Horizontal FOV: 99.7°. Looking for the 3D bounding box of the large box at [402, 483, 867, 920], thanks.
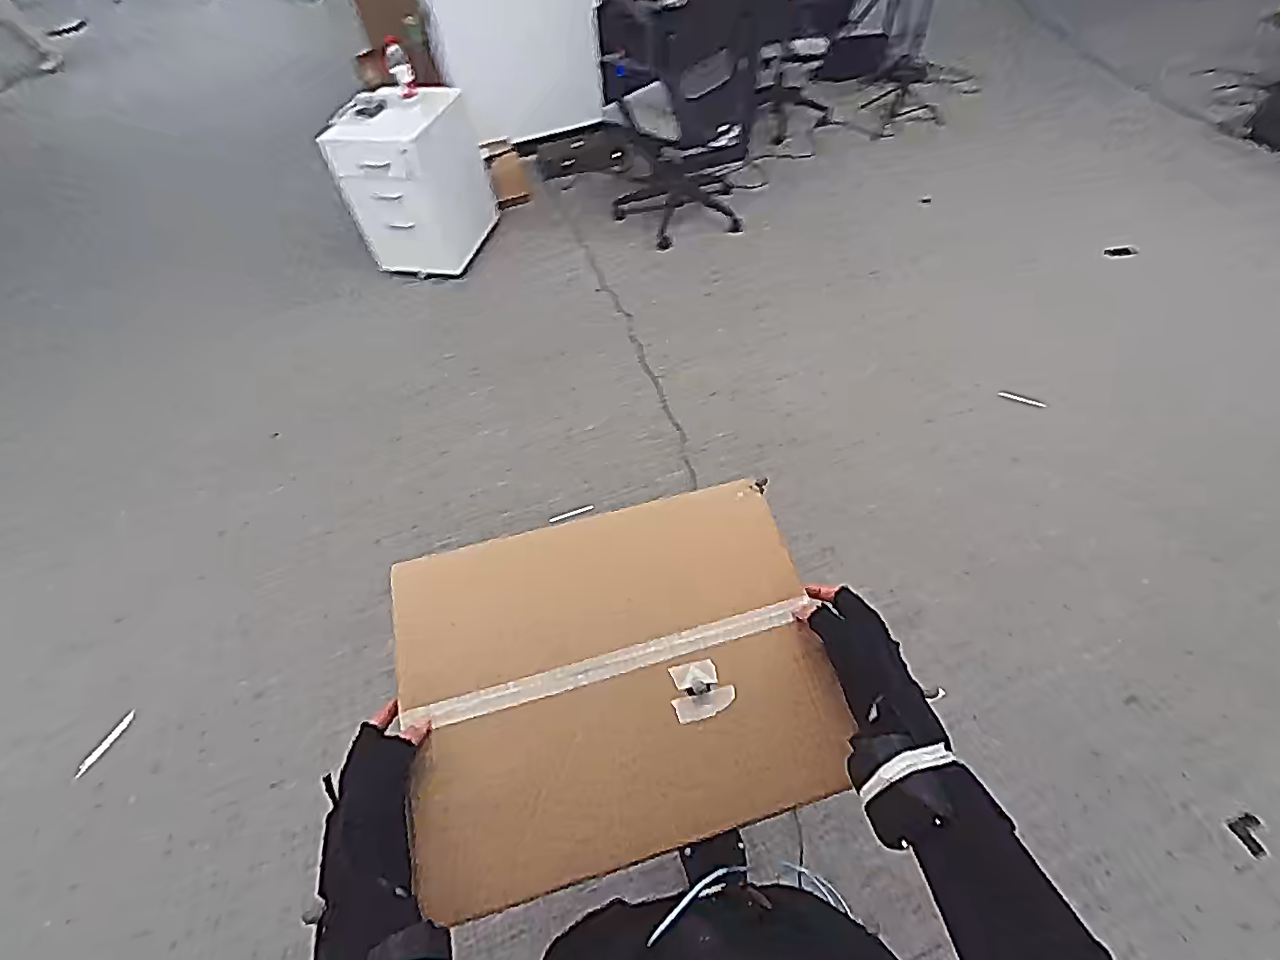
[{"bbox_3d":[-0.024,0.253,0.663,0.408,0.320,0.320,-14,63,-9],"label":"large box"}]
